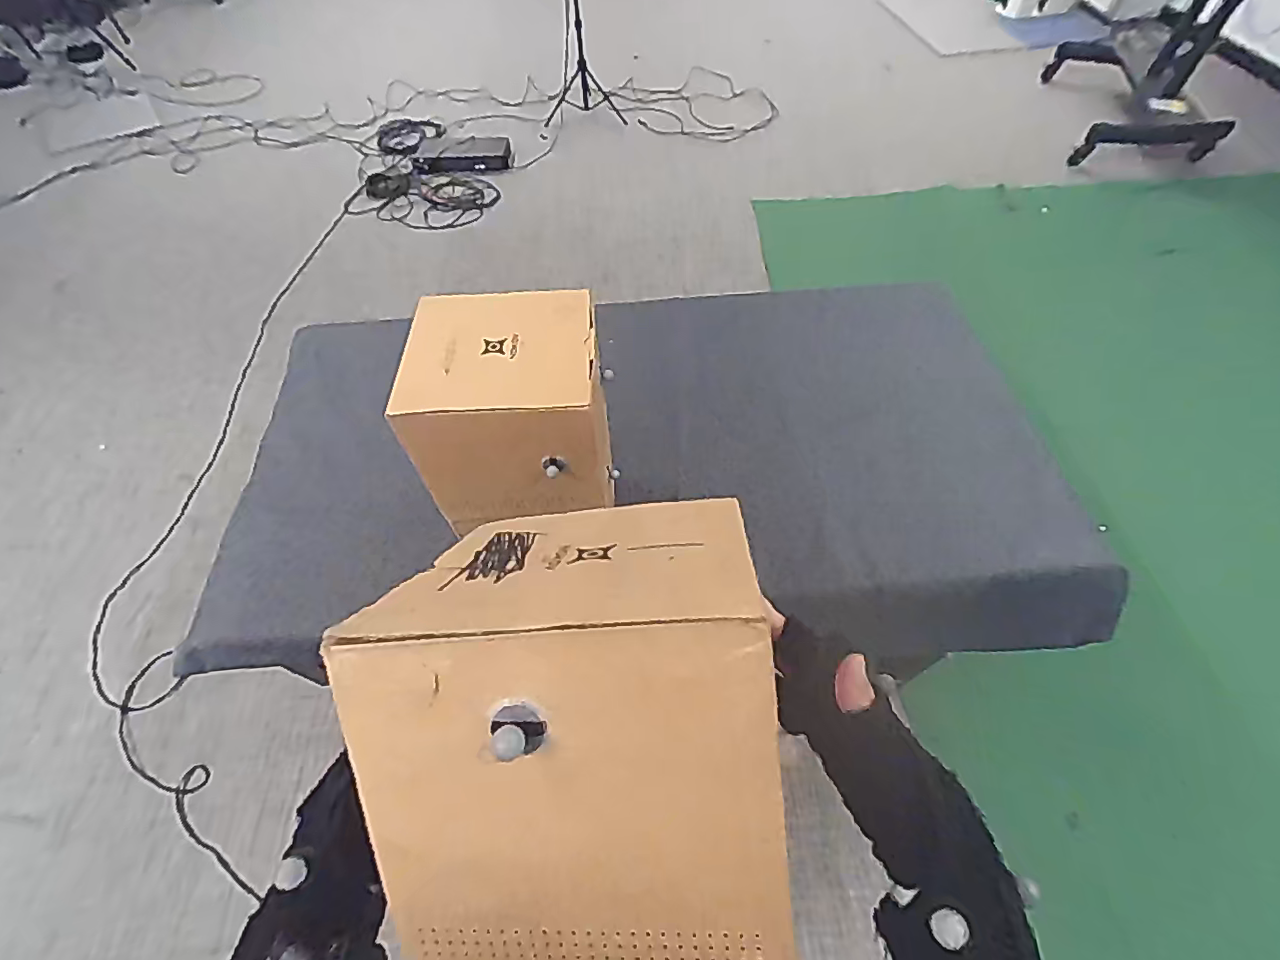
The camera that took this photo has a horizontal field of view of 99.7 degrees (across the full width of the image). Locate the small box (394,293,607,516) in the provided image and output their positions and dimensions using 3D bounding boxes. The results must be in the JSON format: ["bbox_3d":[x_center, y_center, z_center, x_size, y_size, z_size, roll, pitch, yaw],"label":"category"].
[{"bbox_3d":[-0.127,-0.075,0.576,0.179,0.176,0.168,-4,53,0],"label":"small box"}]

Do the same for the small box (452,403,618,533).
[{"bbox_3d":[-0.123,0.016,0.710,0.179,0.176,0.168,-3,55,0],"label":"small box"}]

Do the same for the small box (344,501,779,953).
[{"bbox_3d":[-0.023,0.117,0.306,0.179,0.176,0.168,-4,12,8],"label":"small box"}]
